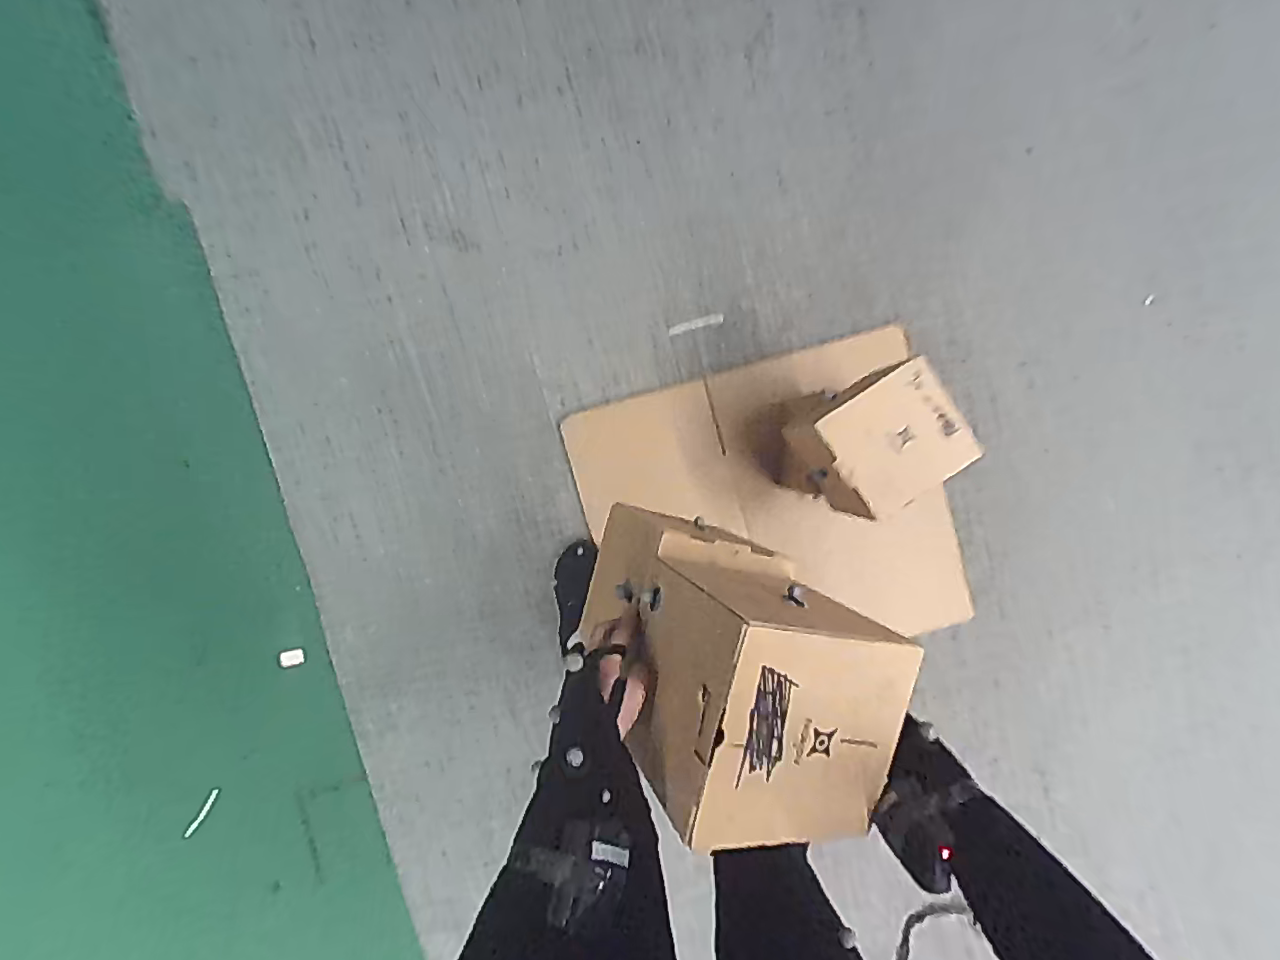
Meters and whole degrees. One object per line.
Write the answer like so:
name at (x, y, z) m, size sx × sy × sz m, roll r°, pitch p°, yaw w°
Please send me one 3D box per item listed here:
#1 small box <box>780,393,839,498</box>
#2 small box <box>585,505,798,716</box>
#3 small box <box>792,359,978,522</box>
small box at (0.361, -0.055, 0.983) m, size 0.168 × 0.176 × 0.179 m, roll 4°, pitch 92°, yaw 0°
small box at (0.046, 0.140, 0.622) m, size 0.168 × 0.176 × 0.179 m, roll 15°, pitch 91°, yaw -21°
small box at (0.351, -0.055, 0.820) m, size 0.179 × 0.176 × 0.168 m, roll -33°, pitch 91°, yaw 1°
